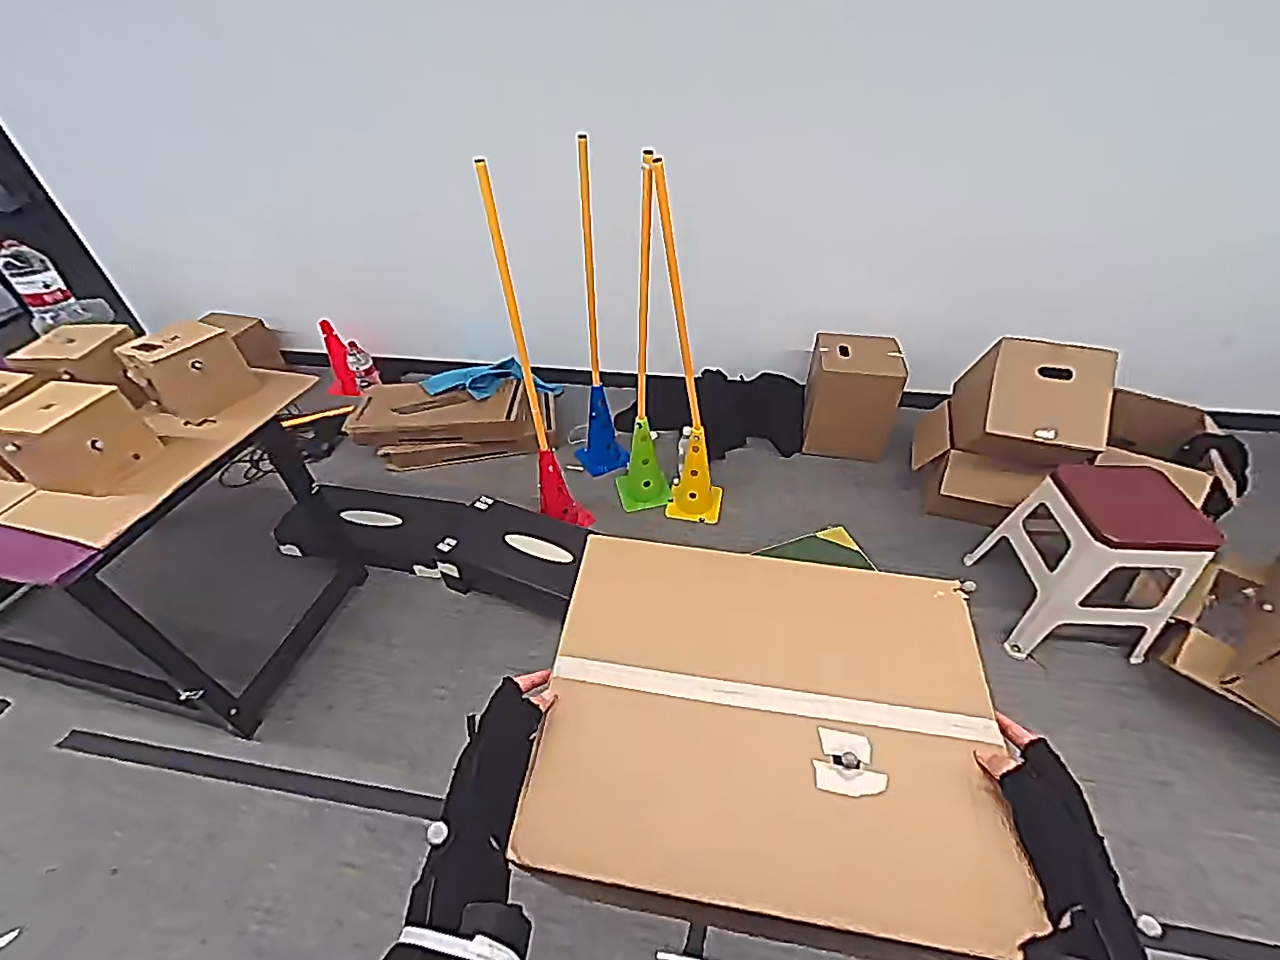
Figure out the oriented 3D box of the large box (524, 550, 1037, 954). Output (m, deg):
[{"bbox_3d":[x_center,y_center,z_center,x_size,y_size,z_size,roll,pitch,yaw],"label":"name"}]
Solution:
[{"bbox_3d":[0.120,0.311,0.625,0.408,0.320,0.320,7,50,6],"label":"large box"}]
